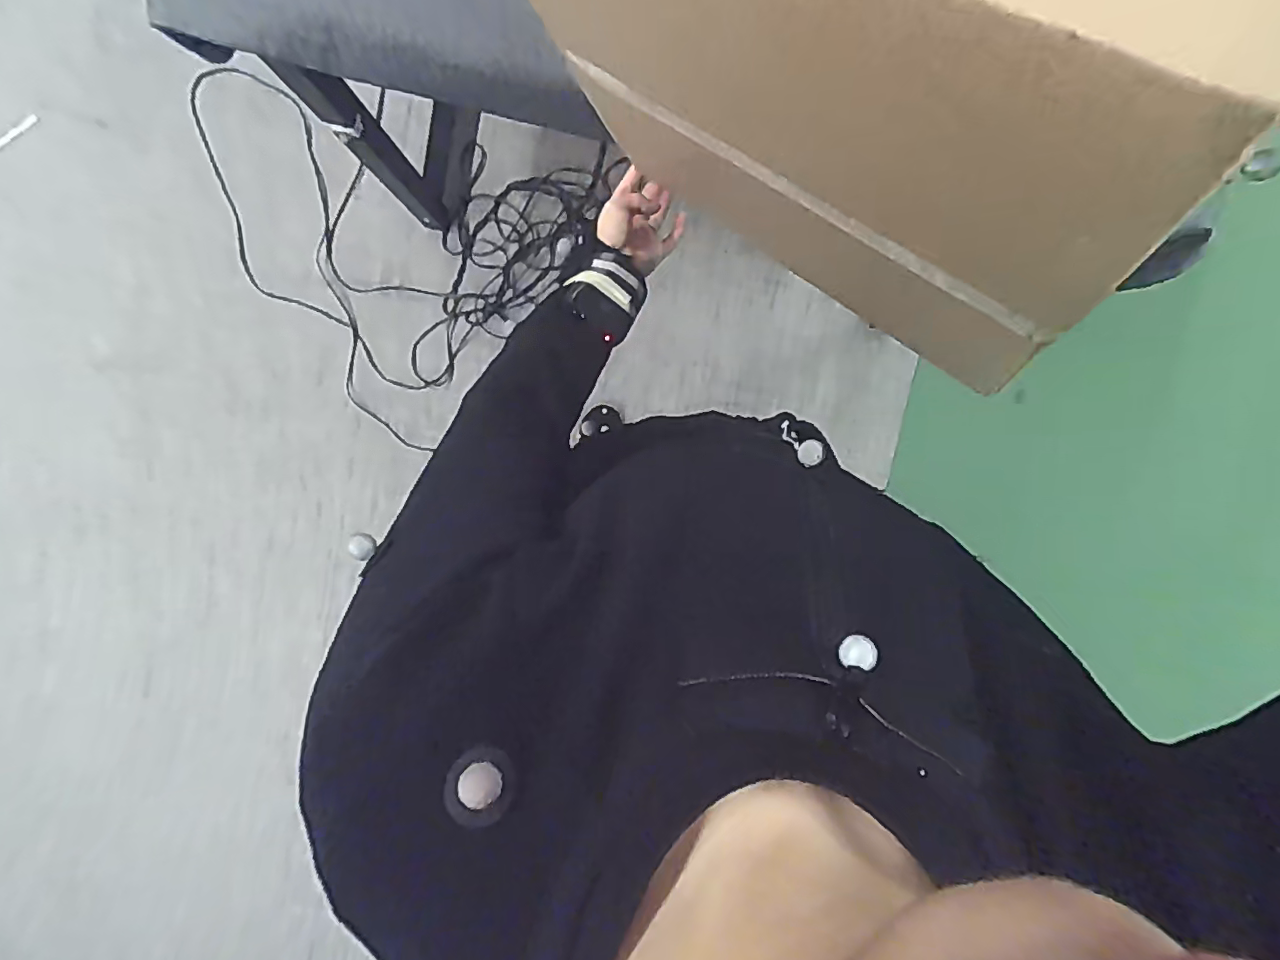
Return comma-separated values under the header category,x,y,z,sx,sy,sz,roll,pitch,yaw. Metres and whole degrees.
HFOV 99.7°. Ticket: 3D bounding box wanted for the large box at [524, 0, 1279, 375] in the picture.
category,x,y,z,sx,sy,sz,roll,pitch,yaw
large box,0.167,-0.322,0.321,0.408,0.320,0.320,41,100,19
